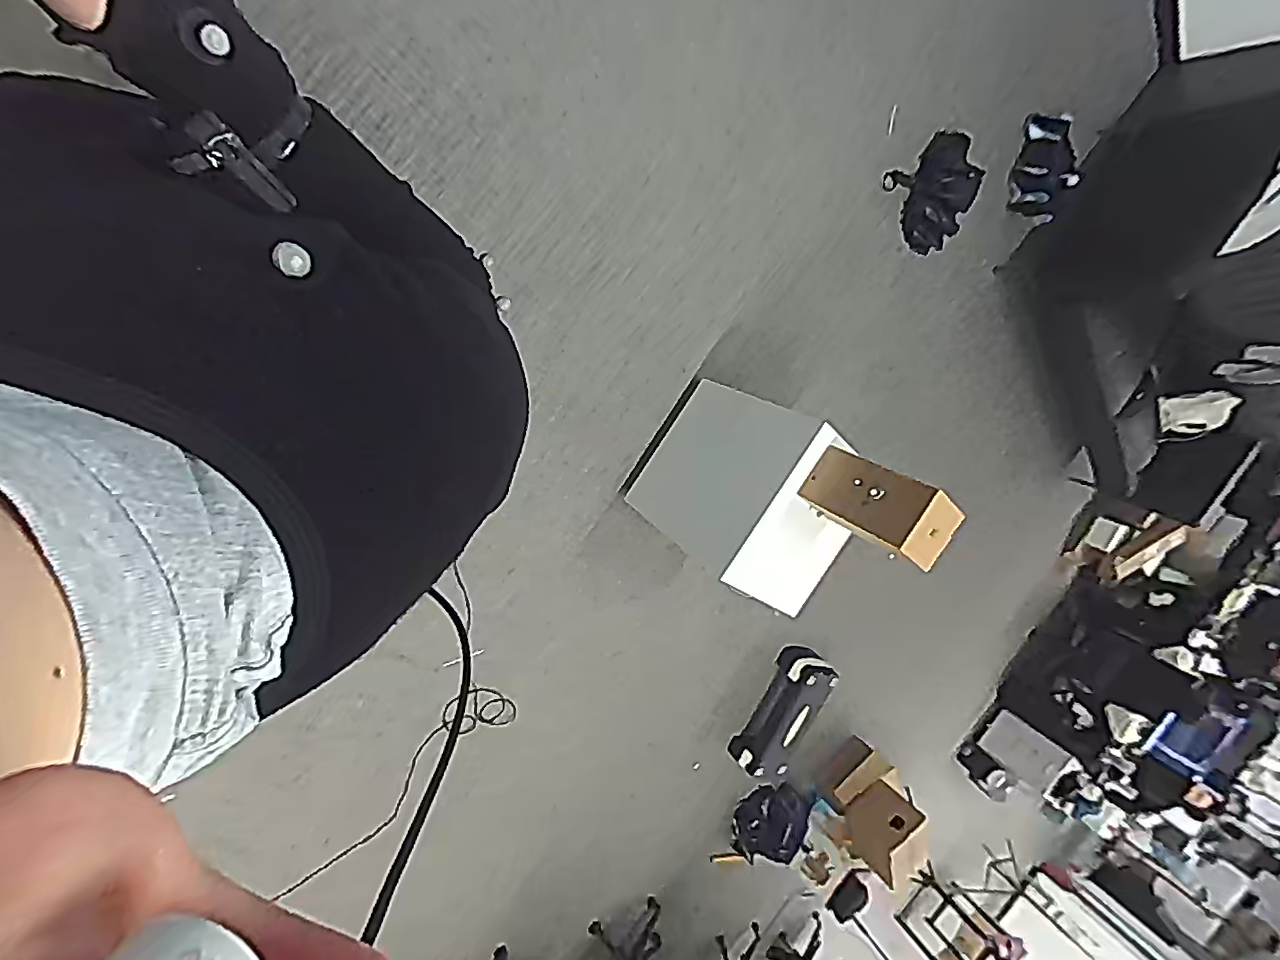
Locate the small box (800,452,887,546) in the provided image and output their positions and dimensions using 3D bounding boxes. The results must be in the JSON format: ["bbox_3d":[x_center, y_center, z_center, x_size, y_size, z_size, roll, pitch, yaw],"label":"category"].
[{"bbox_3d":[0.570,0.047,1.449,0.179,0.176,0.168,31,94,-38],"label":"small box"}]

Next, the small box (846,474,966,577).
[{"bbox_3d":[0.644,0.106,1.316,0.179,0.176,0.168,29,93,-36],"label":"small box"}]
